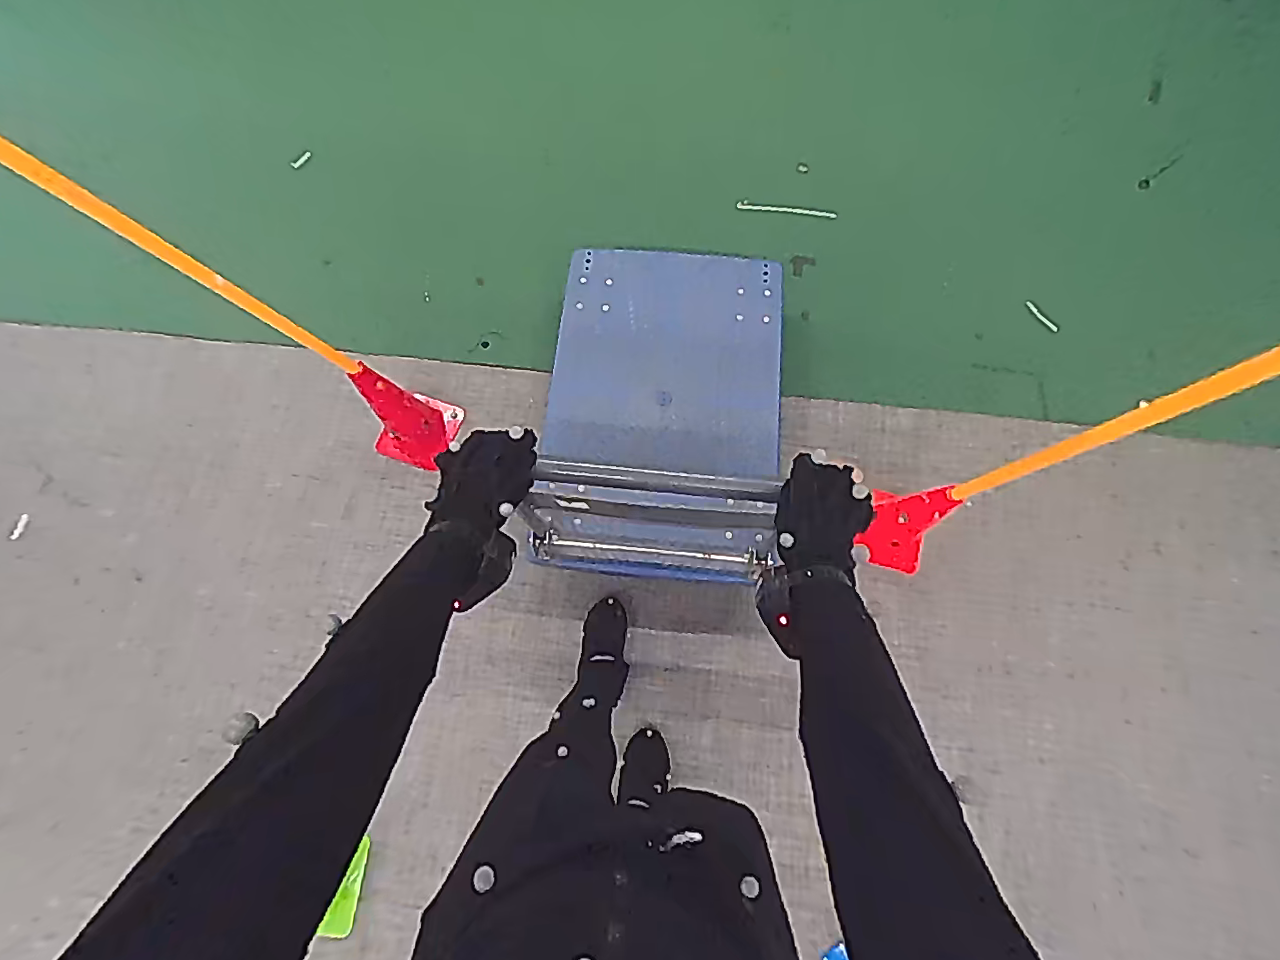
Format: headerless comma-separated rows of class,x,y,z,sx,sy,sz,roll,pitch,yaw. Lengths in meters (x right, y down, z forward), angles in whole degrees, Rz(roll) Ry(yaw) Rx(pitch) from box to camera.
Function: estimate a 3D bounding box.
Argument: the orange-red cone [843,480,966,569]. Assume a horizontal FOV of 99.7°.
orange-red cone,0.641,0.070,1.251,0.198,0.360,0.199,17,75,6
